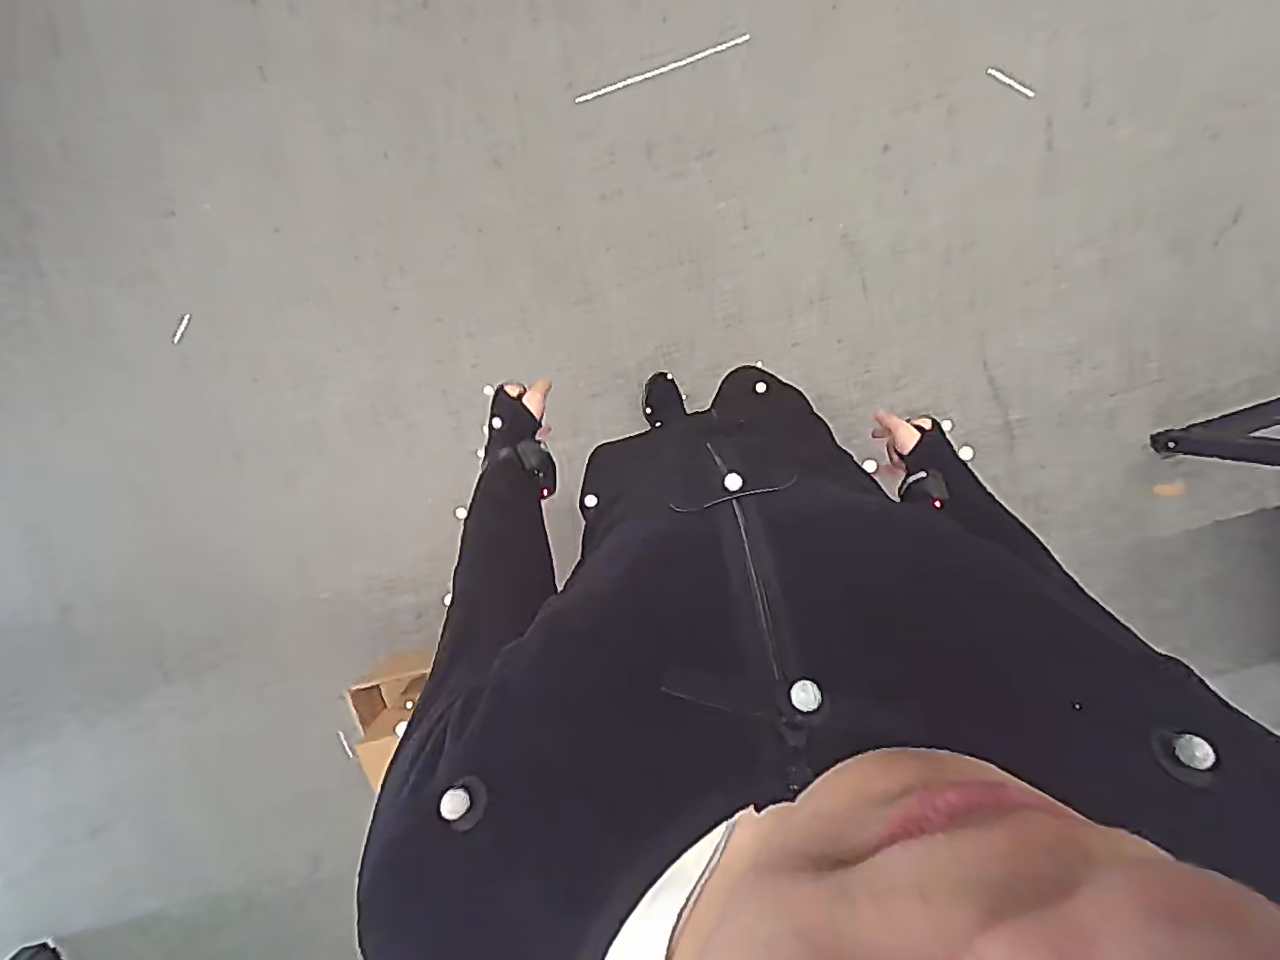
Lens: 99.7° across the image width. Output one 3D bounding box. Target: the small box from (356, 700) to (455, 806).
[{"bbox_3d":[-0.629,0.739,1.476,0.168,0.176,0.179,-16,99,4],"label":"small box"}]
